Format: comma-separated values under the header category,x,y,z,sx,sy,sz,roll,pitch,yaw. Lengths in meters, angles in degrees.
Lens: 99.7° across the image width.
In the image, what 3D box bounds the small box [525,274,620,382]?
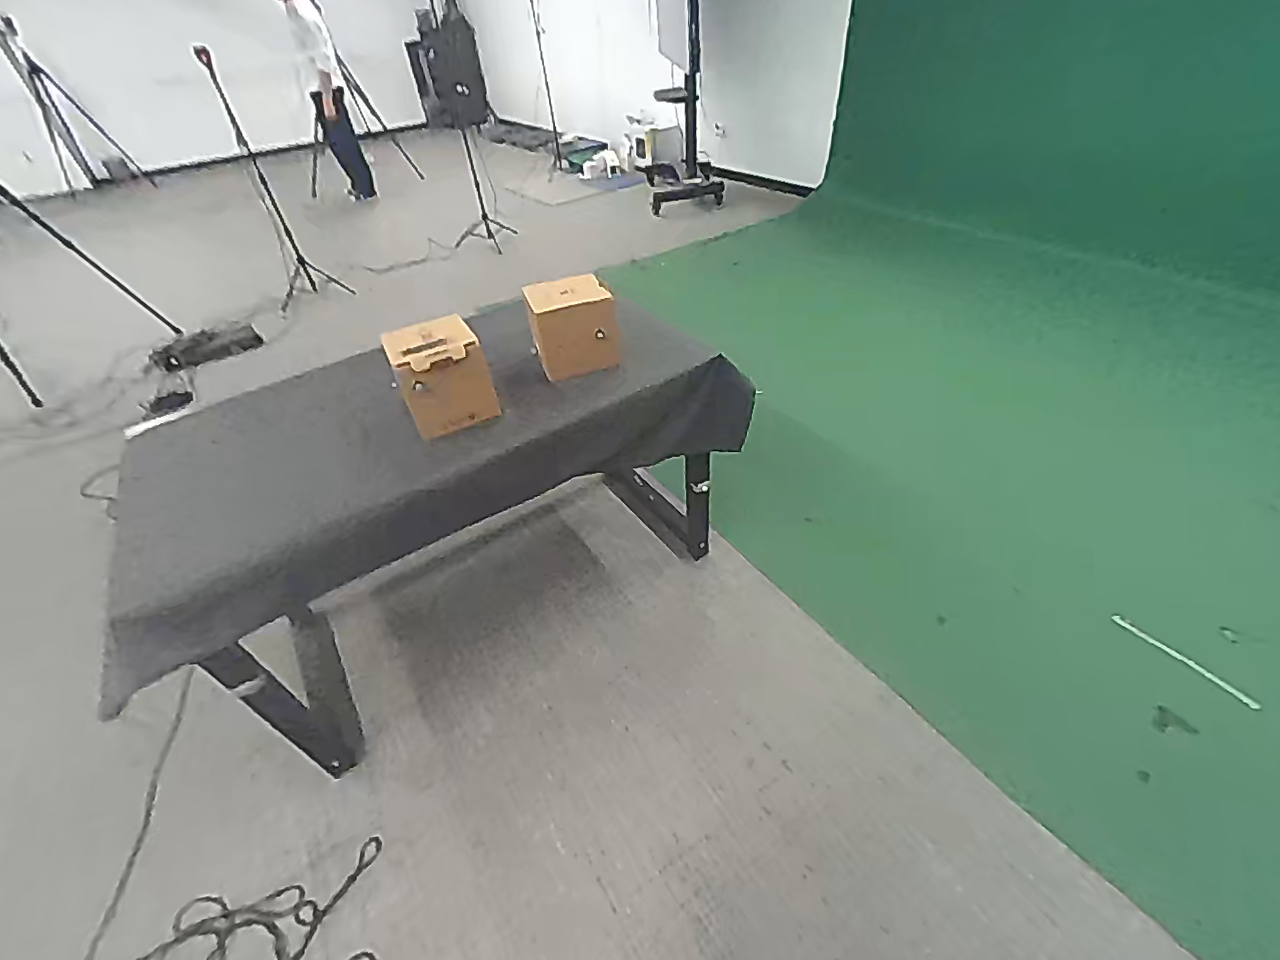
category,x,y,z,sx,sy,sz,roll,pitch,yaw
small box,-0.152,-0.352,1.252,0.179,0.176,0.168,-17,42,-12
